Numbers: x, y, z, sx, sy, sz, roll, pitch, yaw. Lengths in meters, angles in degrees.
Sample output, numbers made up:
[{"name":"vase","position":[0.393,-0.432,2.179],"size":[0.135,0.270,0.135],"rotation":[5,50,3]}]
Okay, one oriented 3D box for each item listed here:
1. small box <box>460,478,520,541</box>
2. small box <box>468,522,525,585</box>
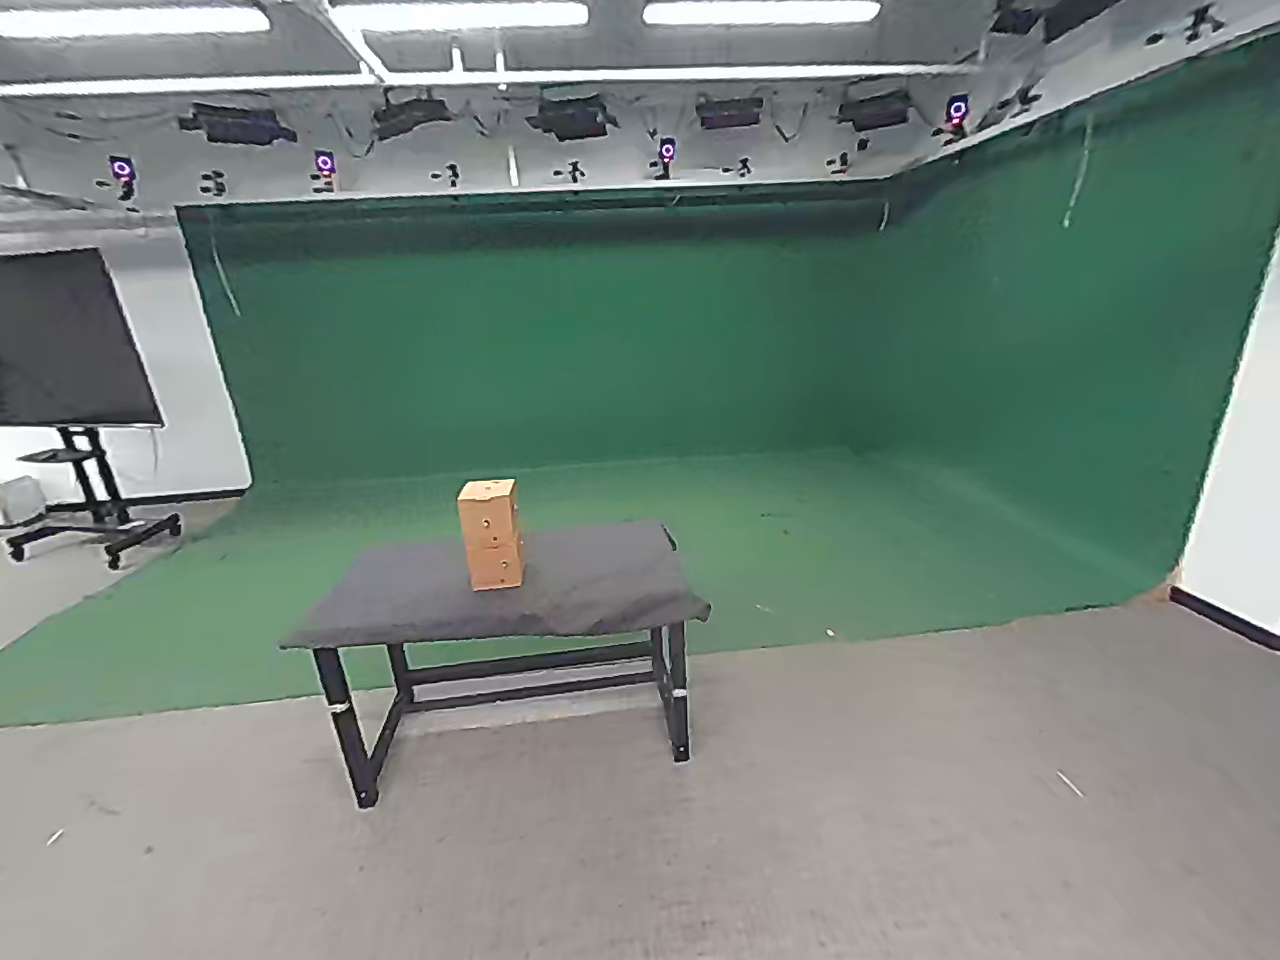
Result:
[{"name":"small box","position":[-0.505,0.104,1.846],"size":[0.168,0.176,0.179],"rotation":[-3,20,-5]},{"name":"small box","position":[-0.496,0.261,1.894],"size":[0.168,0.176,0.179],"rotation":[-3,18,-7]}]
